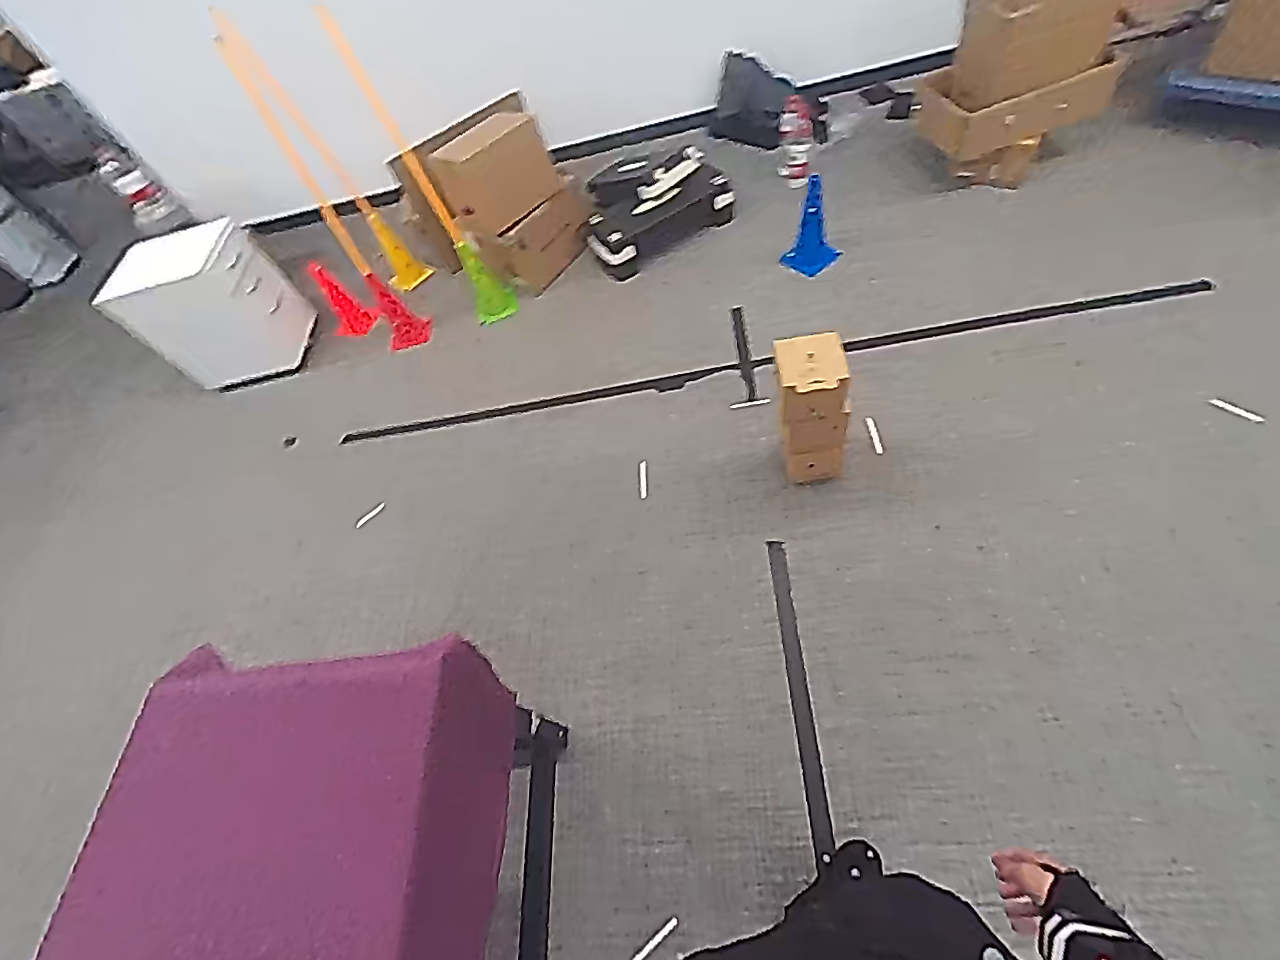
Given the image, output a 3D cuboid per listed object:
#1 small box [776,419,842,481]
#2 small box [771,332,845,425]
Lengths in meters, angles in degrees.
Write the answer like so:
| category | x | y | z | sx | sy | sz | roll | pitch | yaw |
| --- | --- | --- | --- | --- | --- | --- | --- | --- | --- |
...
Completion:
| category | x | y | z | sx | sy | sz | roll | pitch | yaw |
| --- | --- | --- | --- | --- | --- | --- | --- | --- | --- |
| small box | 0.546 | -0.111 | 1.758 | 0.168 | 0.176 | 0.179 | -12 | 56 | 7 |
| small box | 0.453 | -0.274 | 1.486 | 0.168 | 0.176 | 0.179 | -7 | 57 | 10 |
